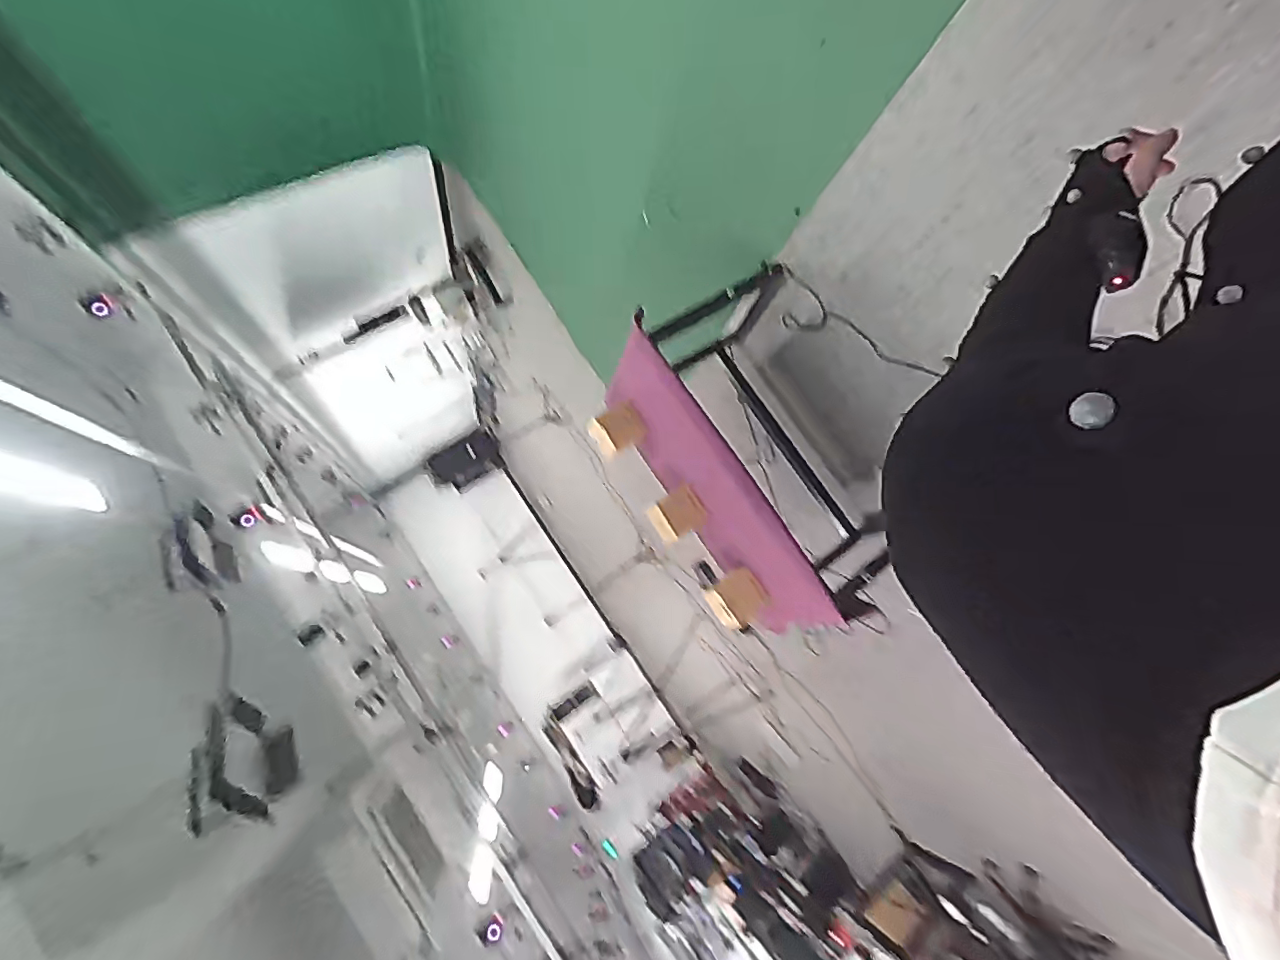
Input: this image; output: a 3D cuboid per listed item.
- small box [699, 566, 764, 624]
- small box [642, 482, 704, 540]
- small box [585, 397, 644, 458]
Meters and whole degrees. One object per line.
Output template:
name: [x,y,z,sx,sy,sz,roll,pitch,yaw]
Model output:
small box: [0.374,0.461,2.175,0.168,0.176,0.179,56,161,5]
small box: [0.140,0.127,2.235,0.168,0.176,0.179,57,161,2]
small box: [-0.103,-0.222,2.273,0.168,0.176,0.179,56,158,4]
